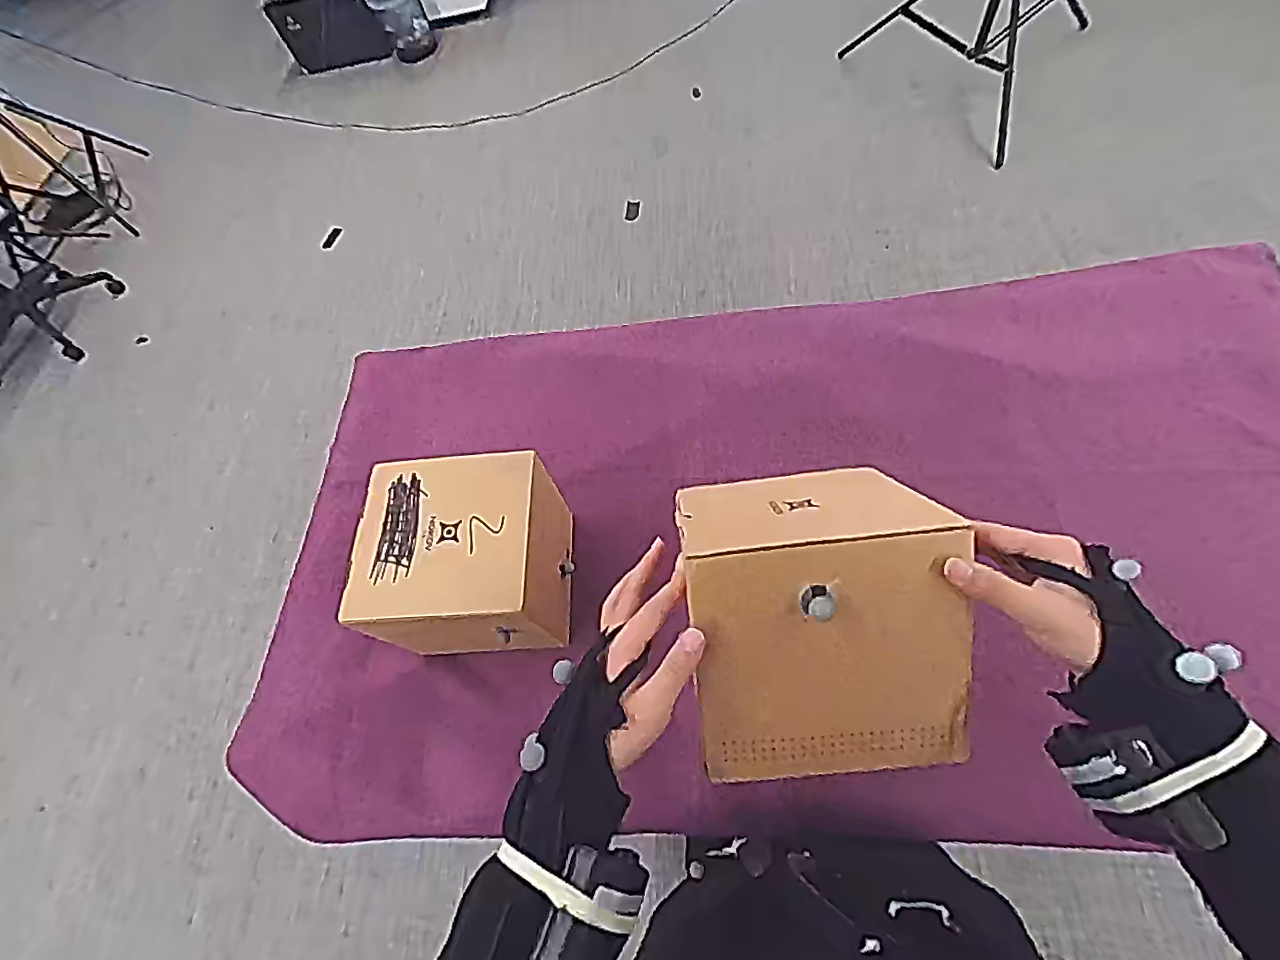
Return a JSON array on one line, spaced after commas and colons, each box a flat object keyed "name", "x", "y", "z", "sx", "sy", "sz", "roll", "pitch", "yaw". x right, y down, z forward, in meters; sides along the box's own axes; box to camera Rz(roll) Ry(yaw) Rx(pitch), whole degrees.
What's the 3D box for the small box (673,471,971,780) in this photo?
[{"name": "small box", "x": 0.122, "y": 0.098, "z": 0.417, "sx": 0.179, "sy": 0.168, "sz": 0.176, "roll": -7, "pitch": 100, "yaw": 3}]
